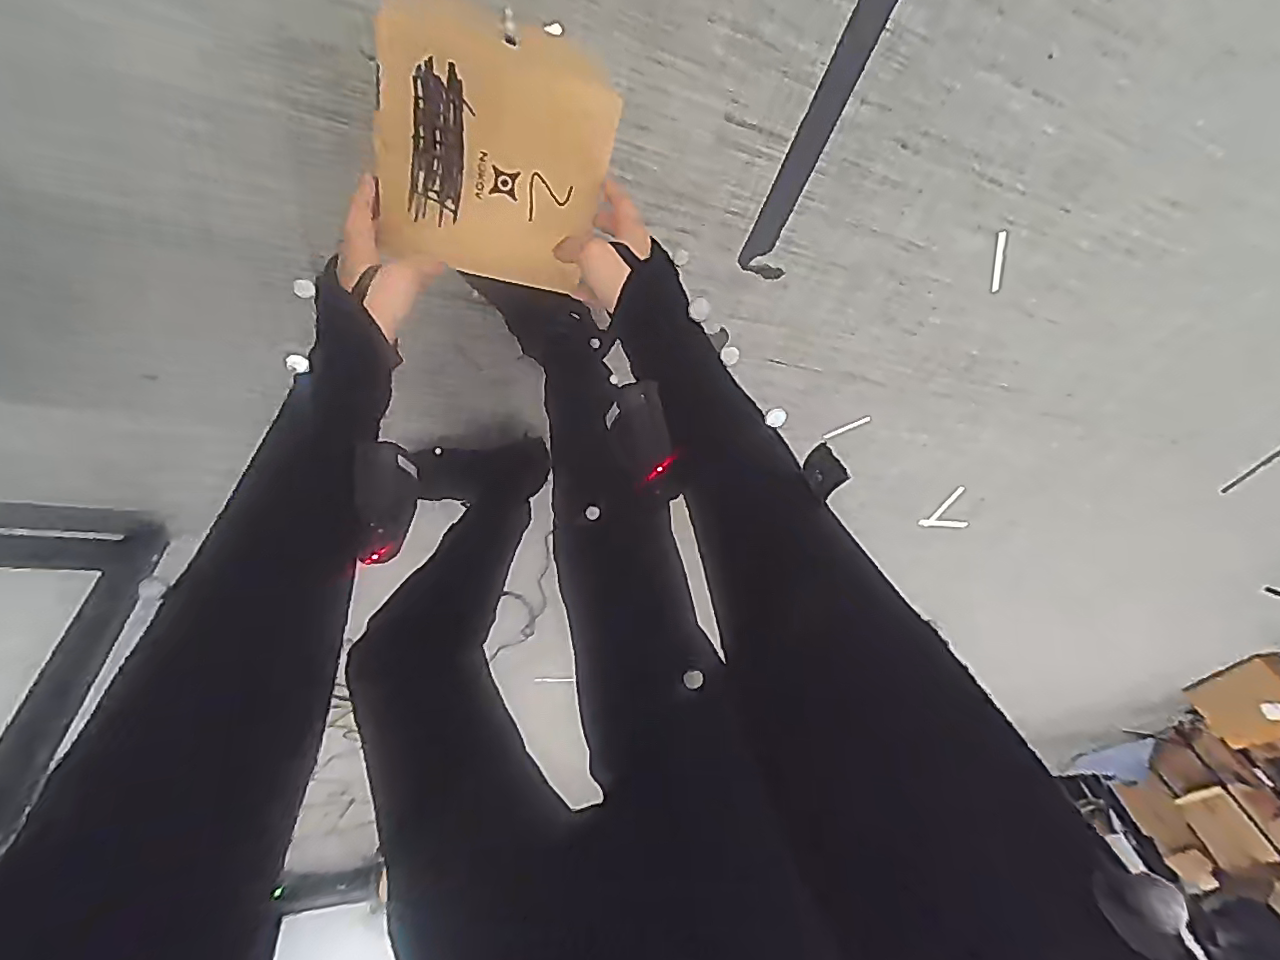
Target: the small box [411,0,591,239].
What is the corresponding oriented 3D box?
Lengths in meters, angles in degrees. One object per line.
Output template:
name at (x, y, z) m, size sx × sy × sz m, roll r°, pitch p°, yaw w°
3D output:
small box at (-0.162, -0.407, 0.610) m, size 0.168 × 0.176 × 0.179 m, roll 5°, pitch 134°, yaw -18°
